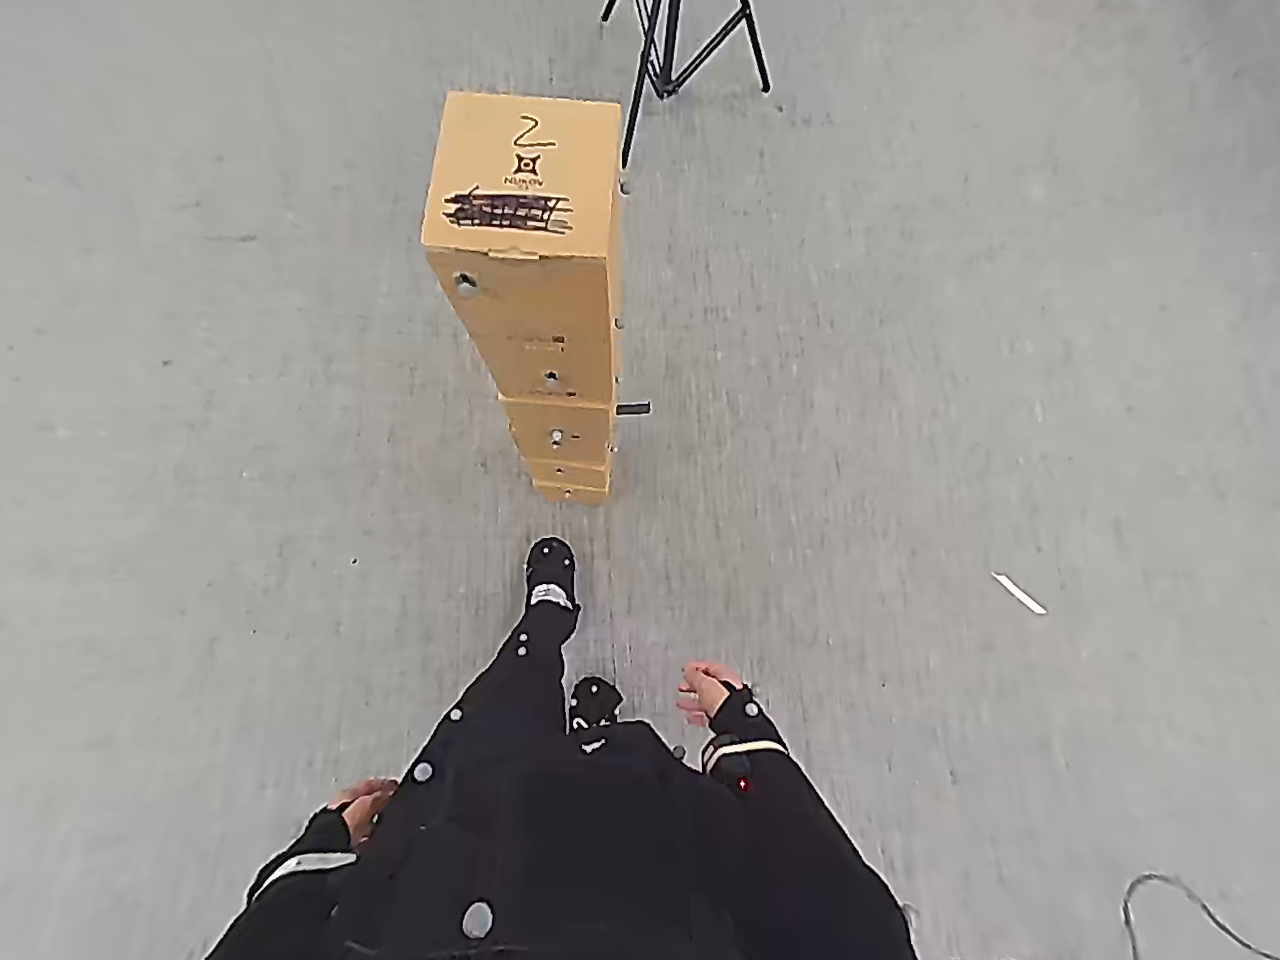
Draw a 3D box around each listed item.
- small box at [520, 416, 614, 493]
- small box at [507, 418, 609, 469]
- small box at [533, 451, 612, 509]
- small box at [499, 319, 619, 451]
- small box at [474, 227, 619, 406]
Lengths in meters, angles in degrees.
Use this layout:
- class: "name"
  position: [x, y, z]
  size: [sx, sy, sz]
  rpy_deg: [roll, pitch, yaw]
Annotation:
- class: "small box"
  position: [-0.155, -0.075, 1.205]
  size: [0.179, 0.176, 0.168]
  rpy_deg: [8, 76, -1]
- class: "small box"
  position: [-0.146, -0.123, 1.051]
  size: [0.179, 0.176, 0.168]
  rpy_deg: [5, 76, -2]
- class: "small box"
  position: [-0.164, -0.025, 1.362]
  size: [0.179, 0.176, 0.168]
  rpy_deg: [5, 75, -2]
- class: "small box"
  position: [-0.124, -0.161, 0.892]
  size: [0.168, 0.176, 0.179]
  rpy_deg: [4, 77, -1]
- class: "small box"
  position: [-0.115, -0.210, 0.736]
  size: [0.168, 0.176, 0.179]
  rpy_deg: [2, 77, -2]
